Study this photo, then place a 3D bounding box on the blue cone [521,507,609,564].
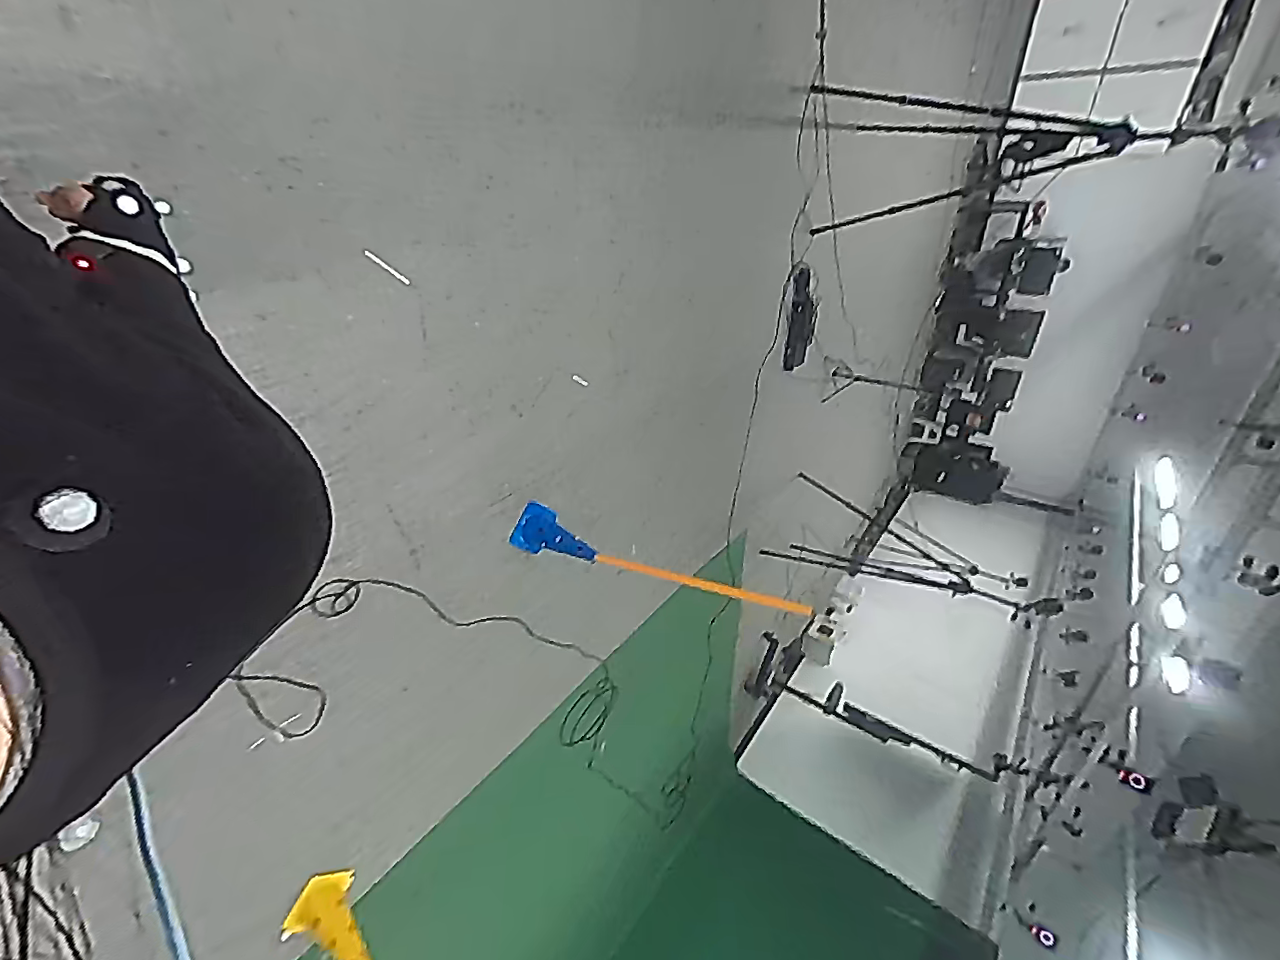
[{"bbox_3d":[-0.282,0.256,2.174,0.192,0.380,0.193,35,77,-55],"label":"blue cone"}]
